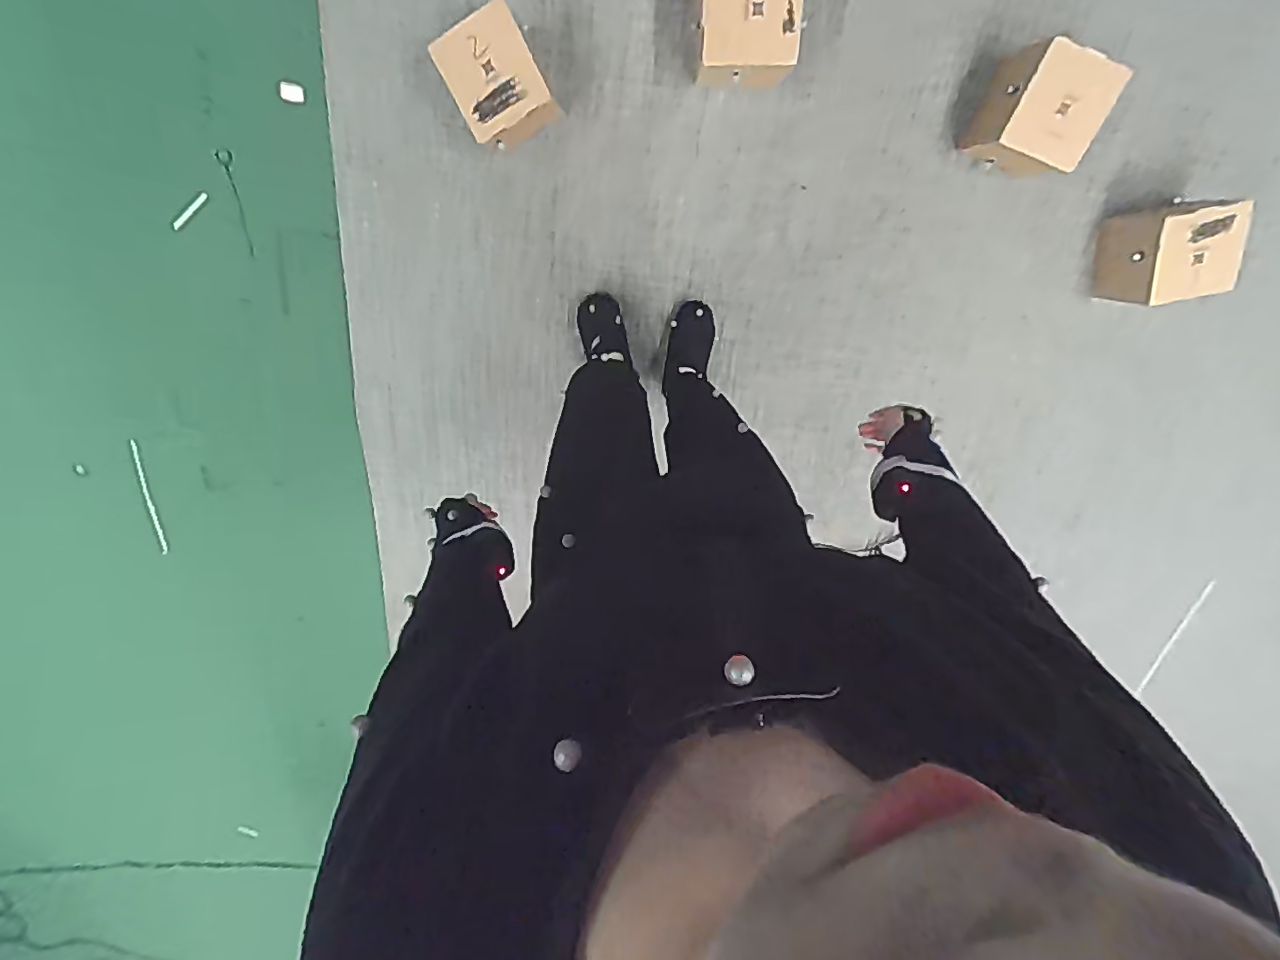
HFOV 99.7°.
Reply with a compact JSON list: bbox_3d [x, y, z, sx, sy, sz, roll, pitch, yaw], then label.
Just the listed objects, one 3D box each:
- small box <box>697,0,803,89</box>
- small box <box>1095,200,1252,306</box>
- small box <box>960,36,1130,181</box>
[{"bbox_3d":[0.201,-0.856,1.021,0.179,0.176,0.168,1,115,2],"label":"small box"},{"bbox_3d":[1.135,-0.489,1.169,0.168,0.176,0.179,-10,115,7],"label":"small box"},{"bbox_3d":[0.783,-0.720,1.071,0.168,0.176,0.179,19,114,-7],"label":"small box"}]
